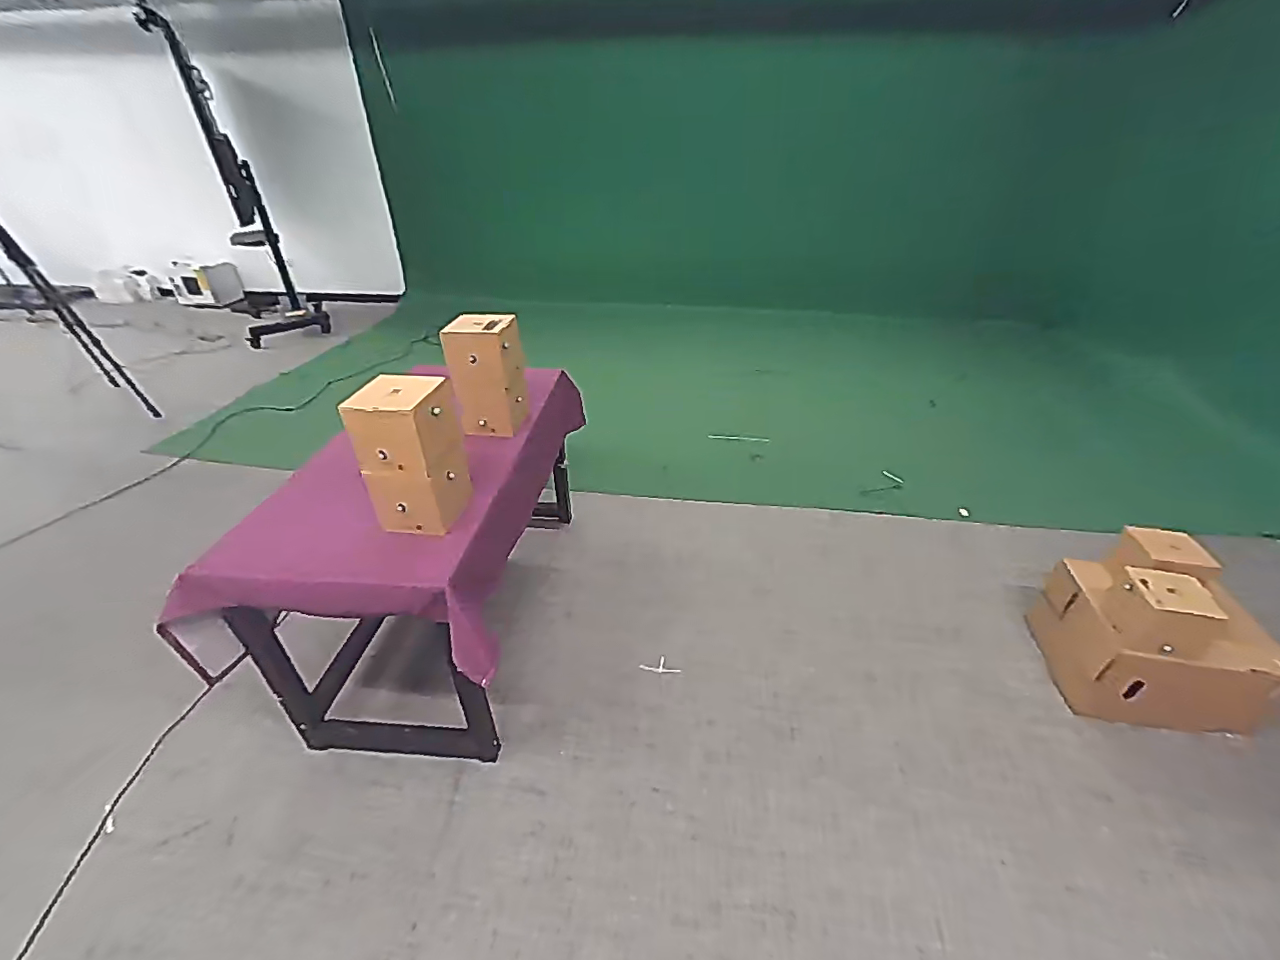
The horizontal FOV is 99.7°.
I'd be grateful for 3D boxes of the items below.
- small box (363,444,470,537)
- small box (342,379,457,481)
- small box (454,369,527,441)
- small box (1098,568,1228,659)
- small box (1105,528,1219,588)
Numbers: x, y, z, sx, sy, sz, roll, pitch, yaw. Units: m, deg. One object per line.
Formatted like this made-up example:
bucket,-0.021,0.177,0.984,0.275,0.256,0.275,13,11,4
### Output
small box,-0.534,0.023,1.325,0.168,0.176,0.179,4,33,7
small box,-0.537,-0.117,1.239,0.168,0.176,0.179,3,34,7
small box,-0.468,-0.241,1.728,0.168,0.176,0.179,3,34,7
small box,1.446,0.374,1.510,0.179,0.176,0.168,9,34,11
small box,1.598,0.272,1.674,0.179,0.176,0.168,8,34,8
